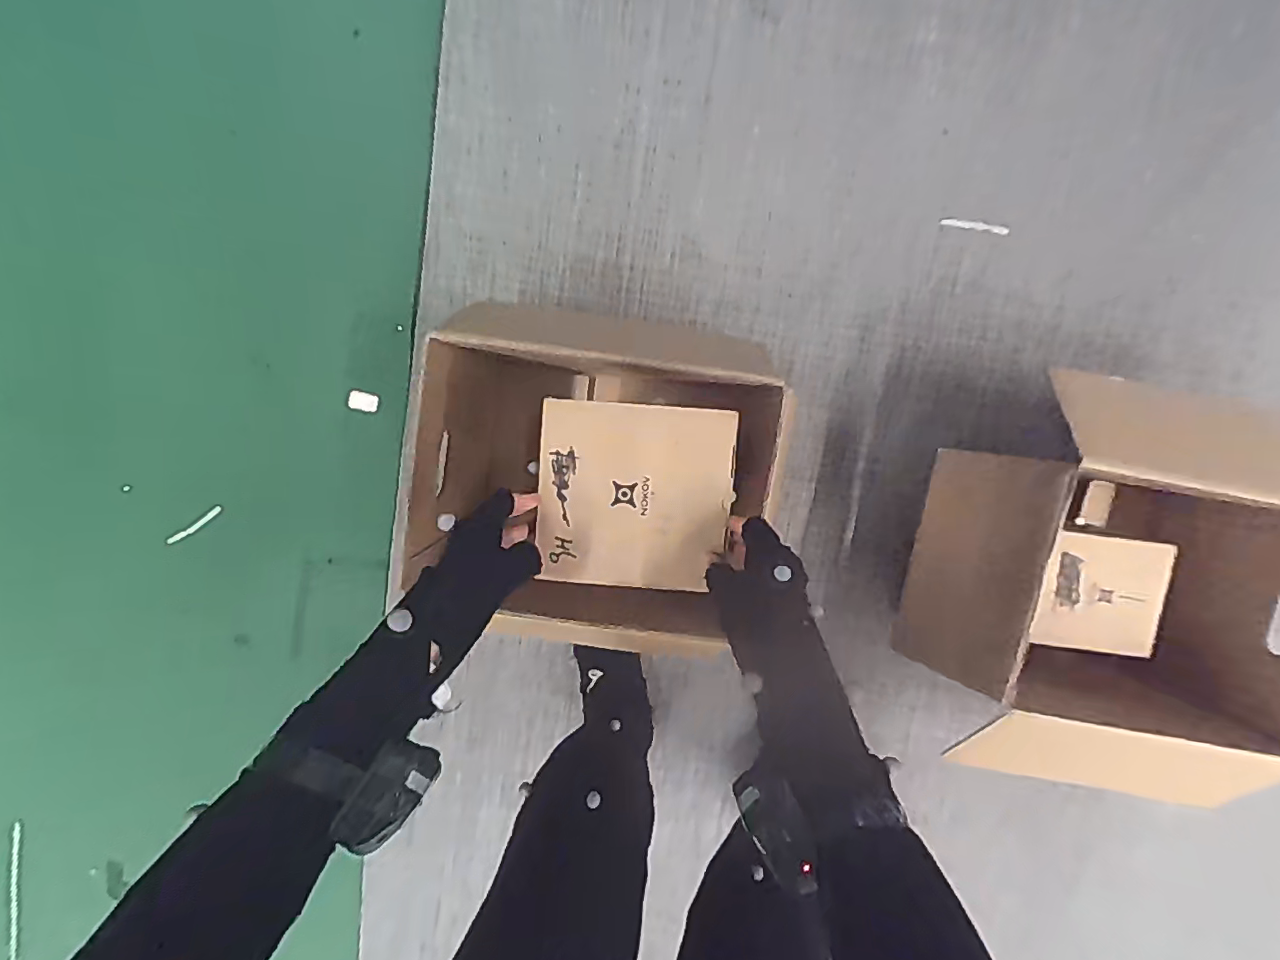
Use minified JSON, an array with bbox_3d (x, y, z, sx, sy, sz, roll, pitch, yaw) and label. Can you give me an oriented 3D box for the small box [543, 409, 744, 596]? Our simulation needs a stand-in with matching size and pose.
[{"bbox_3d":[0.003,0.016,0.573,0.179,0.176,0.168,4,93,1],"label":"small box"}]
